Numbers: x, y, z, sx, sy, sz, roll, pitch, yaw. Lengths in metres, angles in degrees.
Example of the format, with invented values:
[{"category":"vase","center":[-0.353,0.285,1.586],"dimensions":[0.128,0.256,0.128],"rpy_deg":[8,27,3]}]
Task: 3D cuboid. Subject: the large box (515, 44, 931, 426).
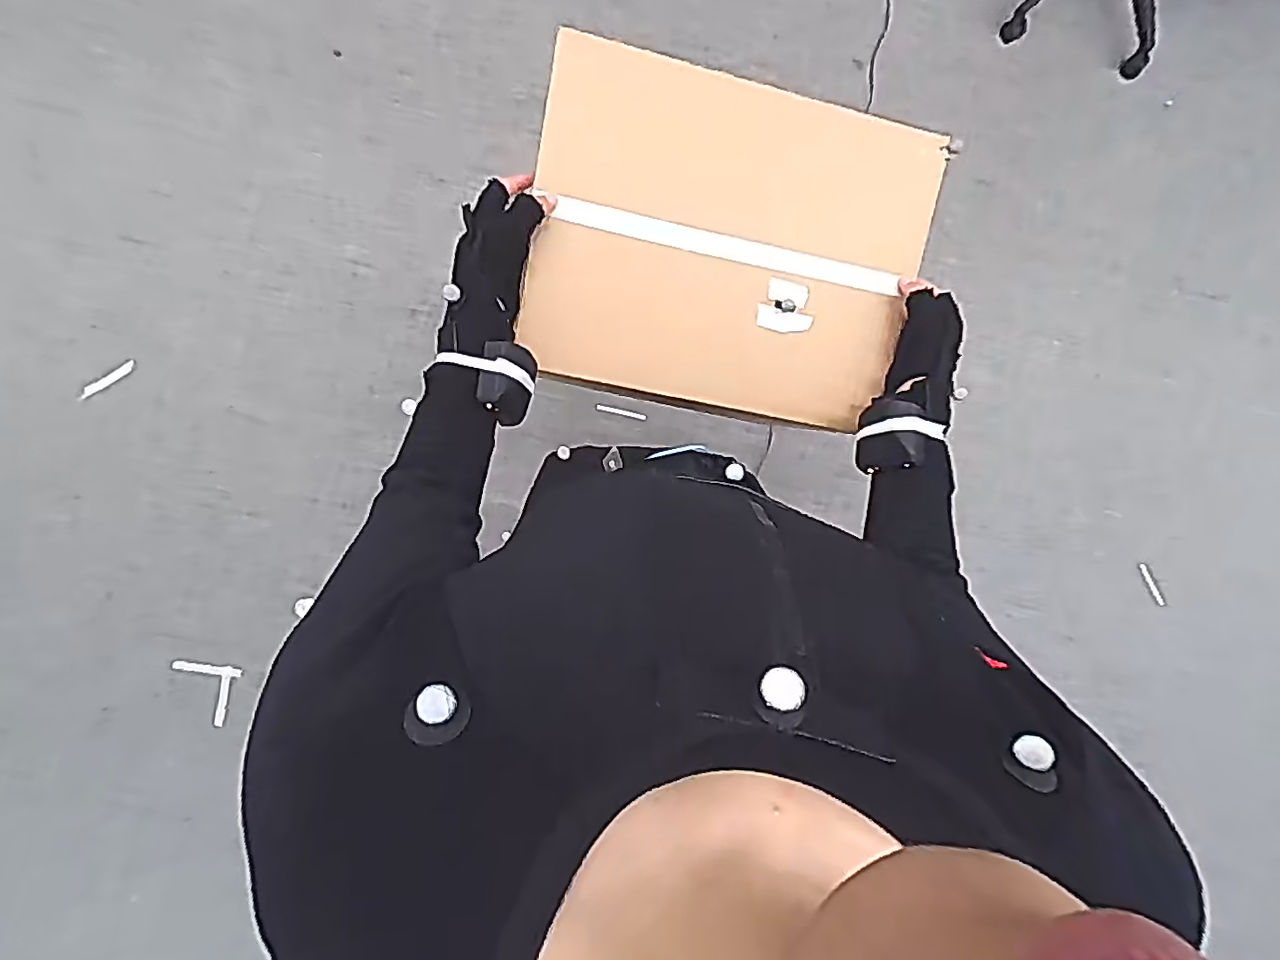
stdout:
[{"category":"large box","center":[0.071,-0.263,0.709],"dimensions":[0.408,0.320,0.320],"rpy_deg":[10,98,-8]}]
